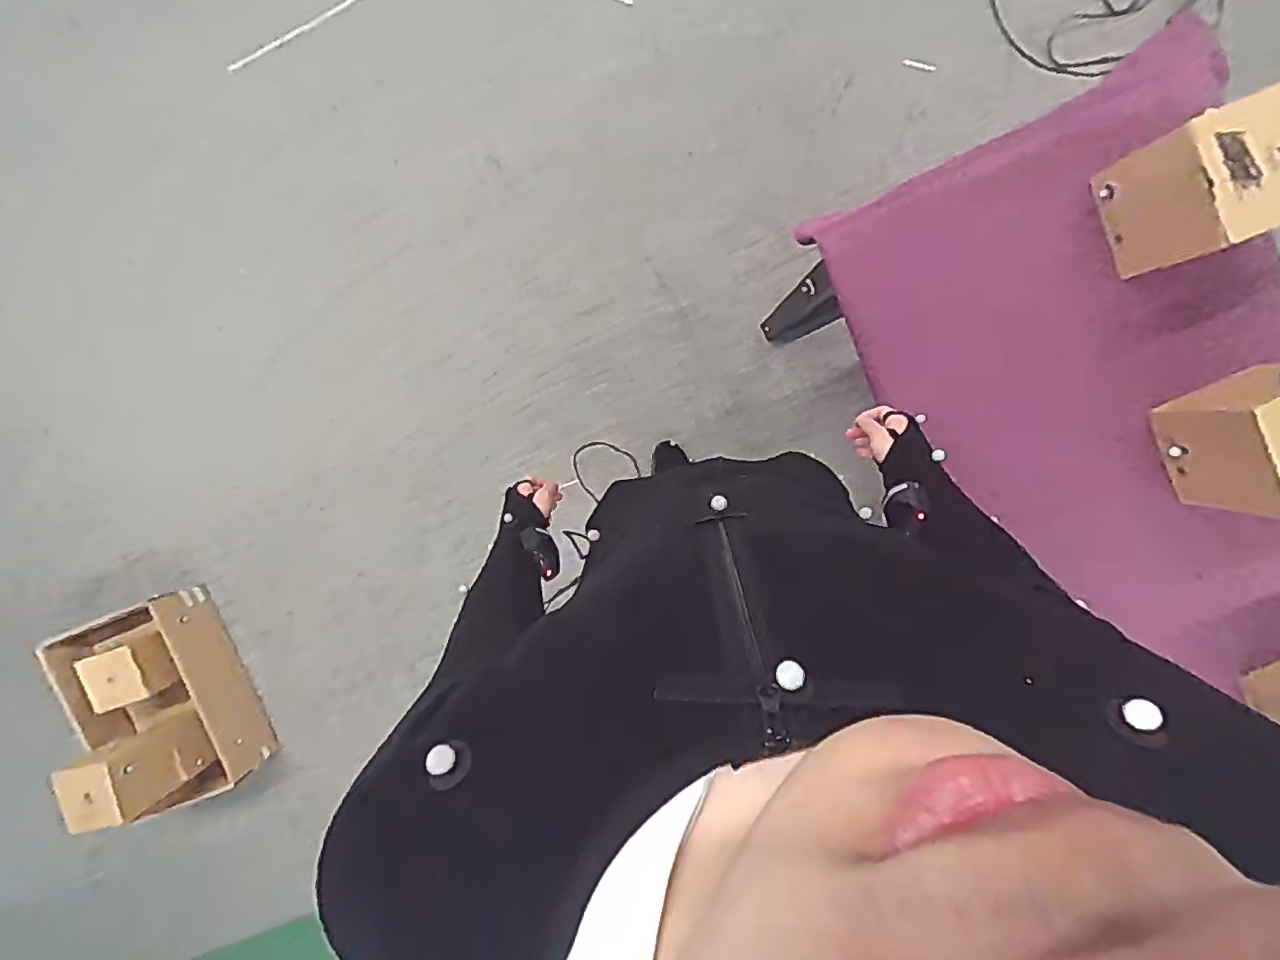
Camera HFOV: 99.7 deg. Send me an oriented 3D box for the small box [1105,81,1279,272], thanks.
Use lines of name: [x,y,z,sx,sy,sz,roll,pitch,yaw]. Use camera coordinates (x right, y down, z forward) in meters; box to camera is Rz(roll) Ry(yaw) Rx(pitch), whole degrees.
small box: [0.795,-0.411,0.743,0.179,0.176,0.168,-21,95,6]

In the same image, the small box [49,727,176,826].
small box: [-1.442,0.806,1.489,0.168,0.176,0.179,-12,94,5]

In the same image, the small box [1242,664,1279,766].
small box: [1.092,0.372,0.808,0.179,0.176,0.168,-24,93,5]

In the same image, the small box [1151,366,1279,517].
small box: [0.911,-0.063,0.776,0.179,0.176,0.168,-23,93,5]
